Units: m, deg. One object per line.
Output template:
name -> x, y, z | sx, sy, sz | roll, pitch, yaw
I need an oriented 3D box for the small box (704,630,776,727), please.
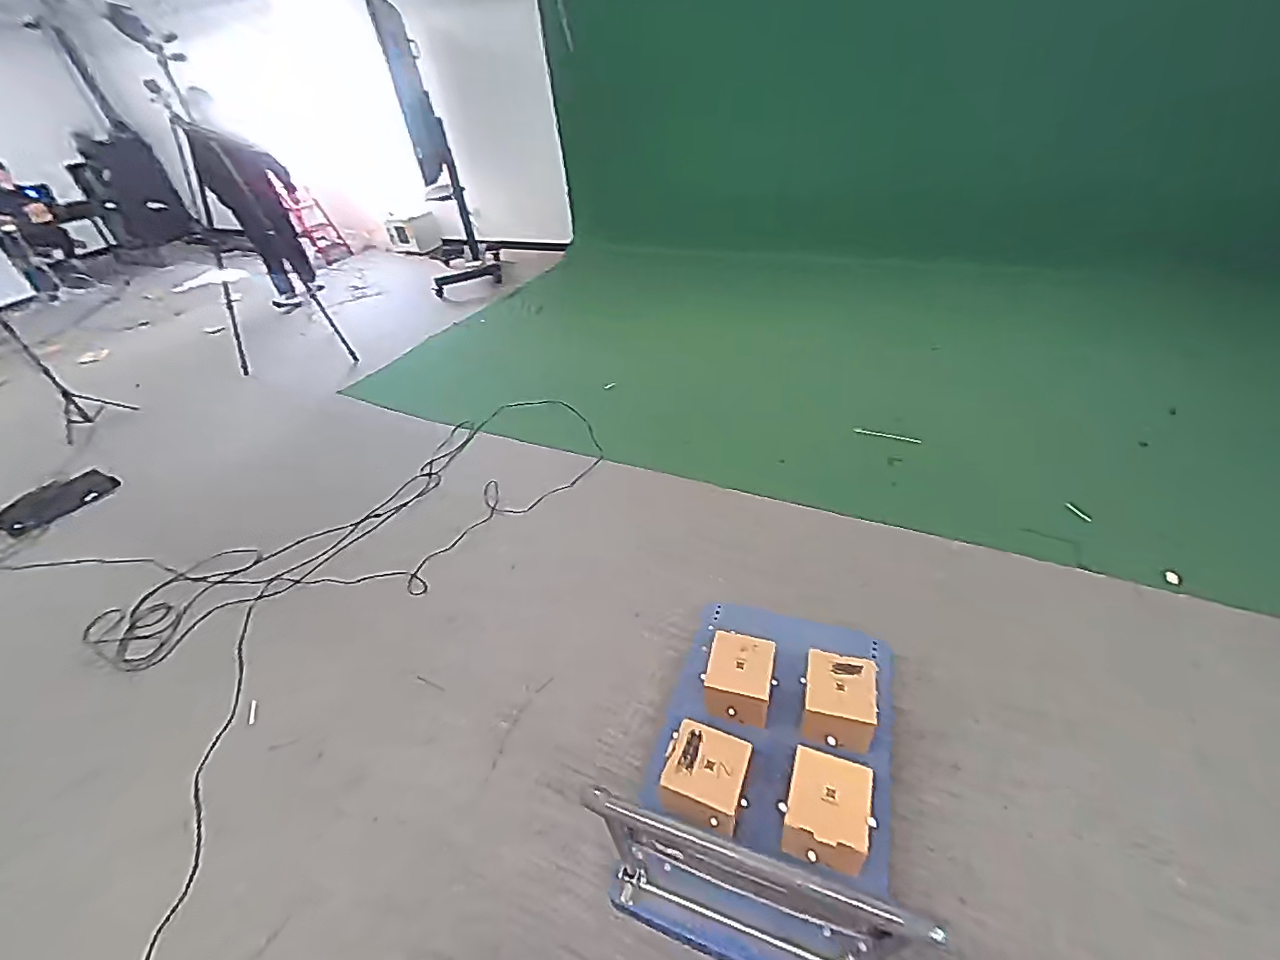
small box -> 0.275, 0.545, 1.482 | 0.168, 0.176, 0.179 | 8, 42, 16

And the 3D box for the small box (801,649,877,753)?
small box -> 0.516, 0.575, 1.410 | 0.168, 0.176, 0.179 | 7, 43, 17

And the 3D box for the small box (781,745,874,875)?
small box -> 0.421, 0.746, 1.223 | 0.168, 0.176, 0.179 | 11, 43, 20
